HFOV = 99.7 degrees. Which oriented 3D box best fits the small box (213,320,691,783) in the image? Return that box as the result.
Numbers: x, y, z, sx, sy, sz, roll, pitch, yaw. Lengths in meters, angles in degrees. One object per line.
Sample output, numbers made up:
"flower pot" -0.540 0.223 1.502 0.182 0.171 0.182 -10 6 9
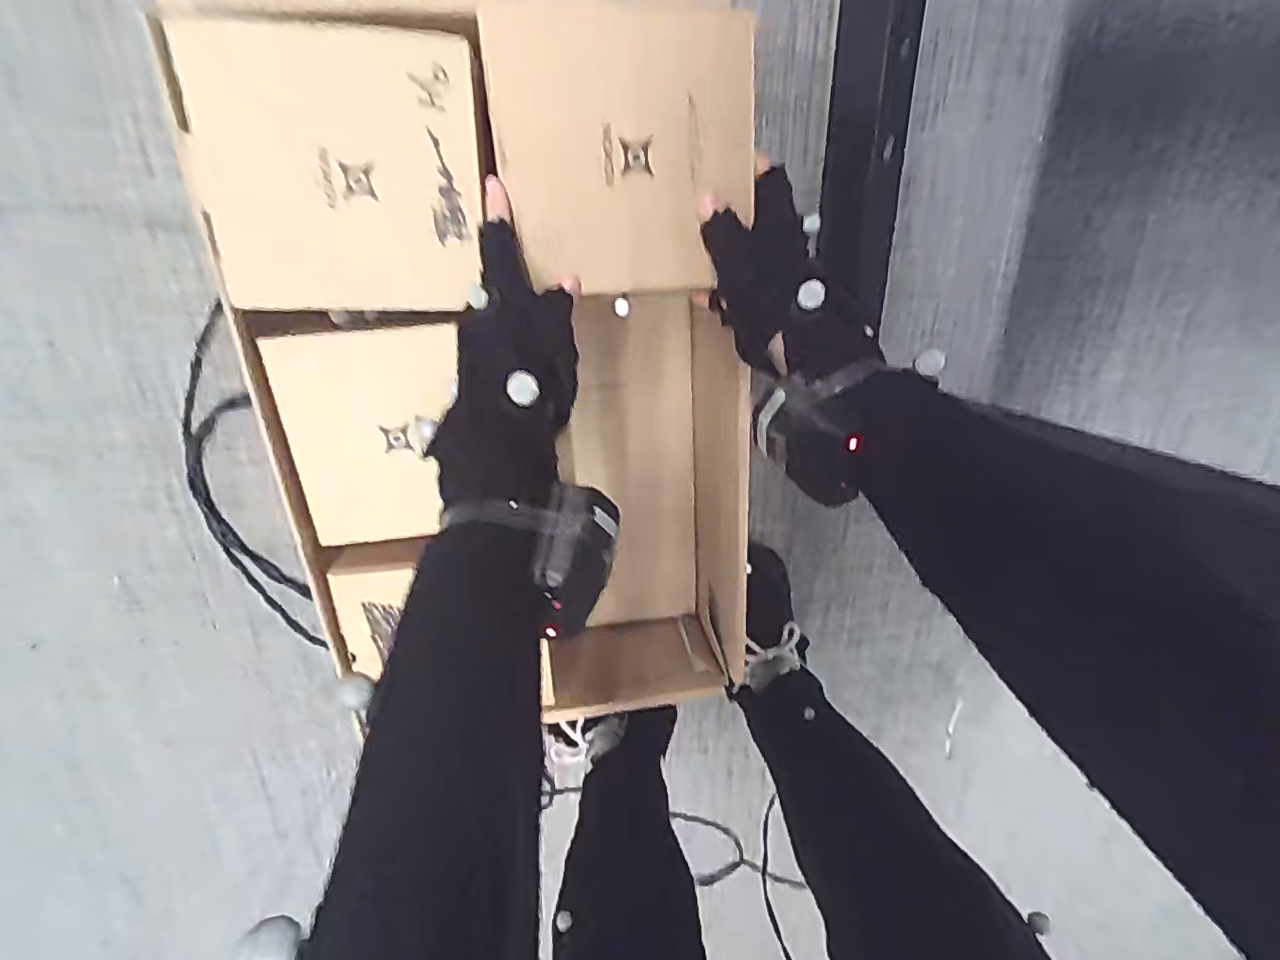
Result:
"small box" -0.098 0.019 0.291 0.176 0.179 0.168 -4 123 -23
